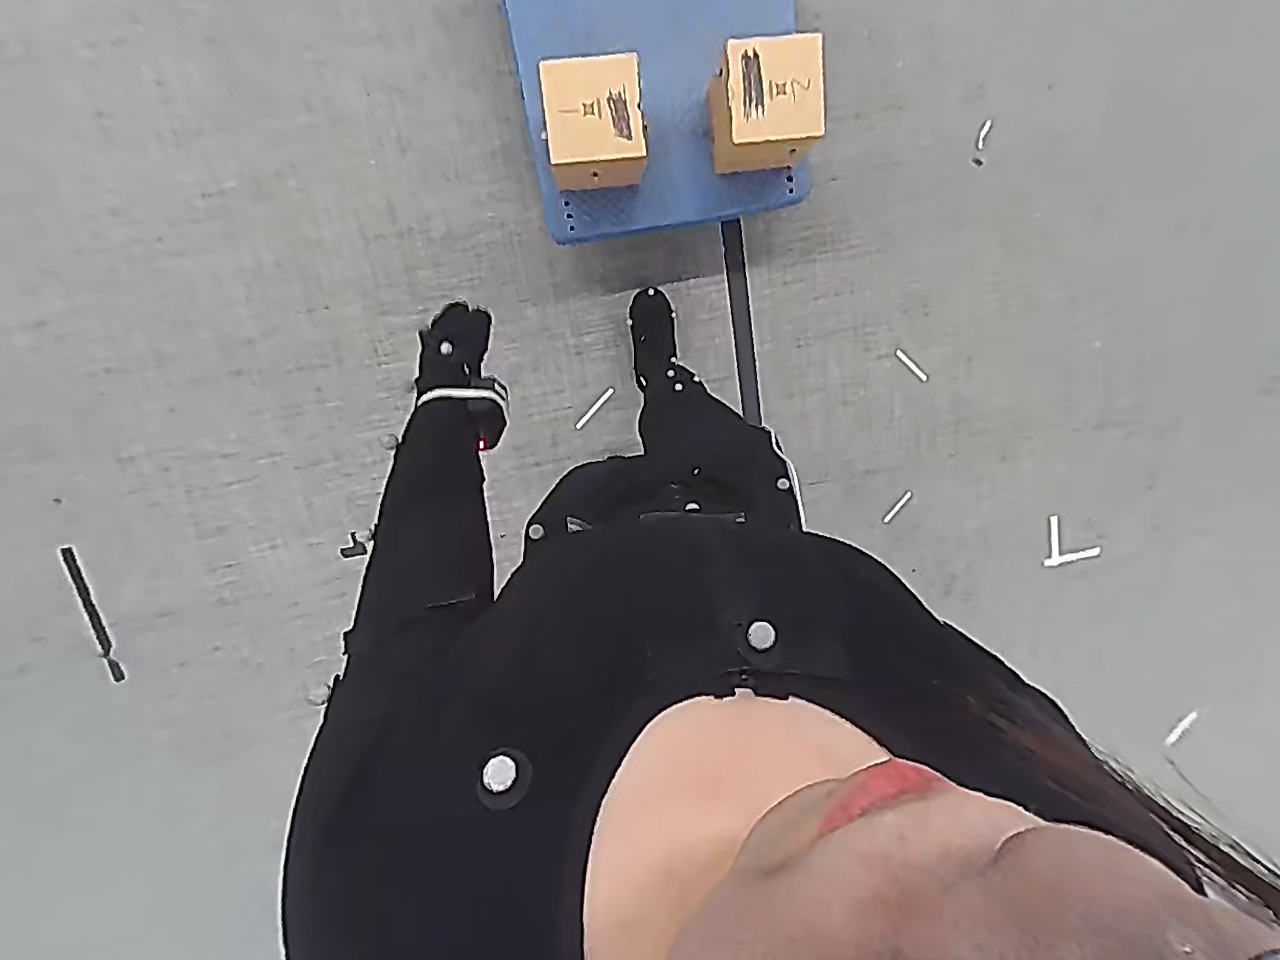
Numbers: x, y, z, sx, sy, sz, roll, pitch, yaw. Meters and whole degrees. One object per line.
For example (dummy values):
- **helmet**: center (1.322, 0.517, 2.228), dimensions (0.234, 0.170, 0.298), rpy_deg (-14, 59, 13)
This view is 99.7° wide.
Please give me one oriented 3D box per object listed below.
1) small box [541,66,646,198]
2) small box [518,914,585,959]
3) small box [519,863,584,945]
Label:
- **small box**: center (-0.088, -0.661, 1.044), dimensions (0.179, 0.176, 0.168), rpy_deg (-6, 103, -2)
- **small box**: center (-0.250, 1.377, 1.532), dimensions (0.179, 0.176, 0.168), rpy_deg (-5, 104, -2)
- **small box**: center (-0.269, 1.342, 1.693), dimensions (0.179, 0.176, 0.168), rpy_deg (-7, 103, -2)
